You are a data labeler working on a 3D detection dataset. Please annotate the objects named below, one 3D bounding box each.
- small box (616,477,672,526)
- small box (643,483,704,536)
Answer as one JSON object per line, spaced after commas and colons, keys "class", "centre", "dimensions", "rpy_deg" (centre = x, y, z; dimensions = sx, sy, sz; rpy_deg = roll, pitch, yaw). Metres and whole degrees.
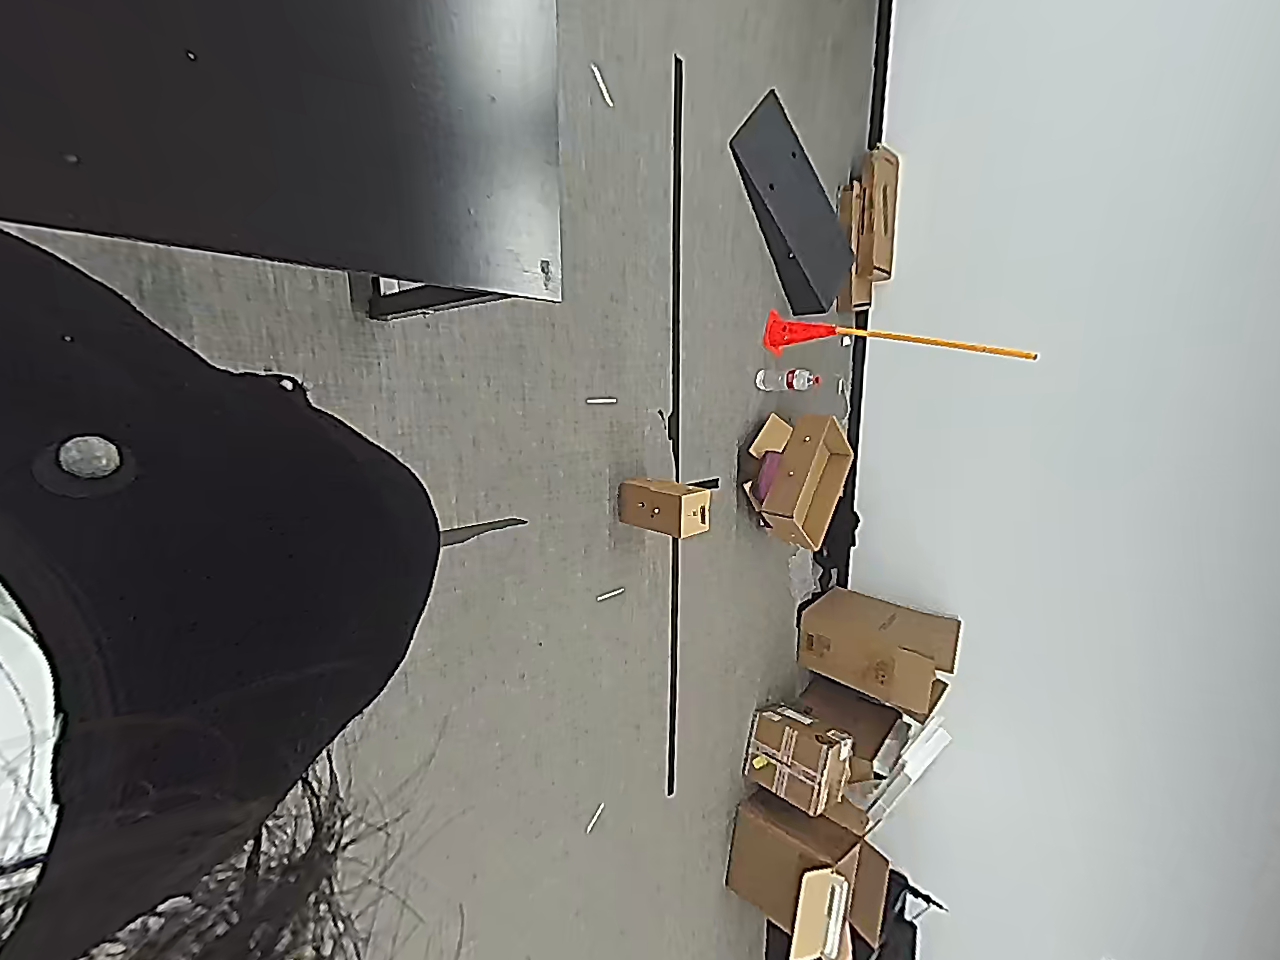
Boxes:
{"class": "small box", "centre": [0.014, 0.084, 2.220], "dimensions": [0.168, 0.176, 0.179], "rpy_deg": [-10, 105, -46]}
{"class": "small box", "centre": [0.131, 0.109, 2.107], "dimensions": [0.179, 0.176, 0.168], "rpy_deg": [-10, 105, -45]}
